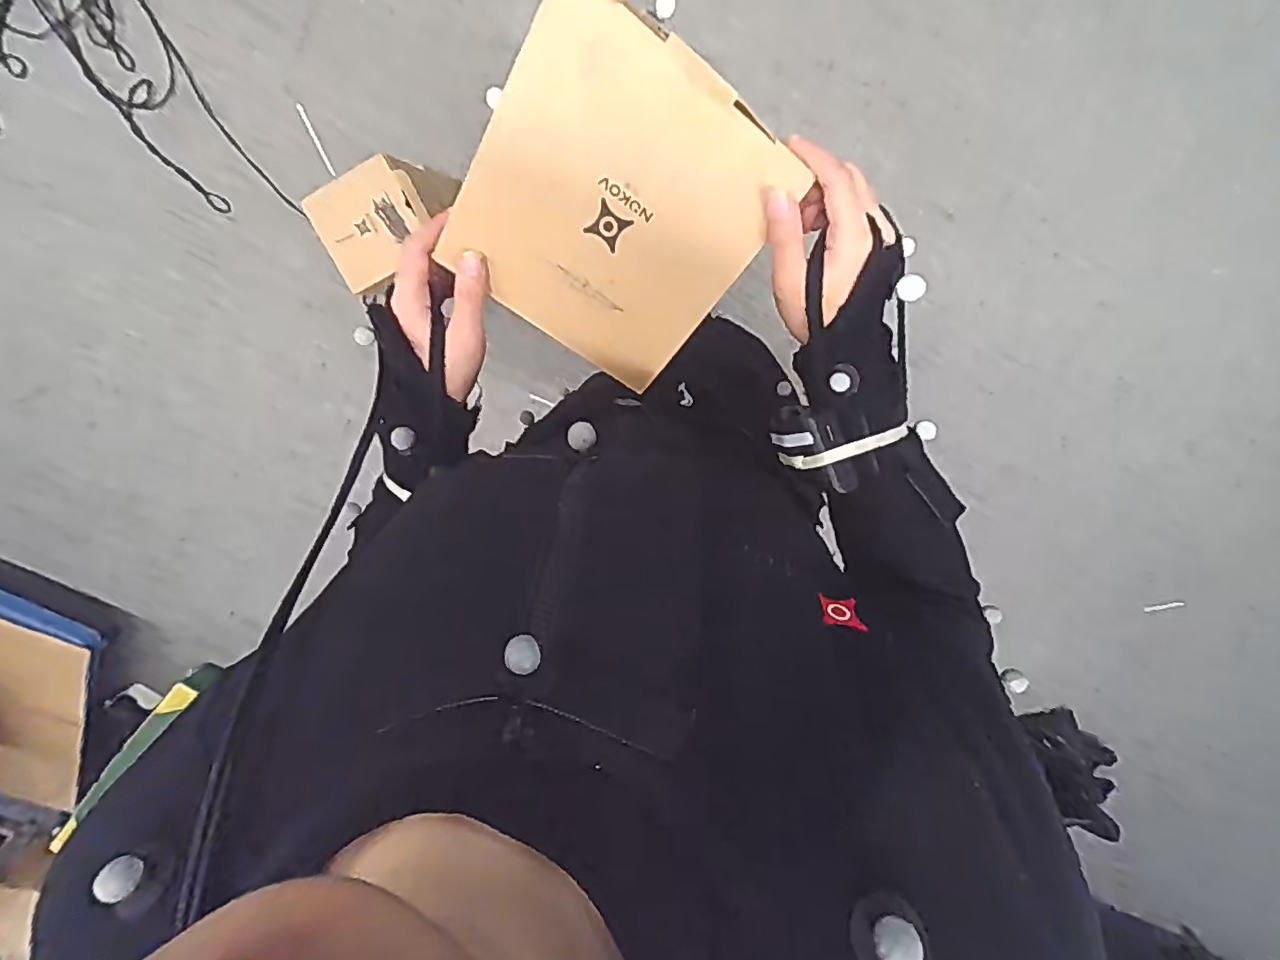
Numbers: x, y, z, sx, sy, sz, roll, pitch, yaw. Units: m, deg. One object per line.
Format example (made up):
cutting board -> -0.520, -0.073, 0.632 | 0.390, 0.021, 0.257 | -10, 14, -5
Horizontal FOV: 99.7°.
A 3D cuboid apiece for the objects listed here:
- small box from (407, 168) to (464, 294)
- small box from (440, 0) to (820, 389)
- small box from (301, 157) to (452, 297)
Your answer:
small box -> -0.437, -0.514, 1.133 | 0.168, 0.176, 0.179 | -27, 107, 12
small box -> -0.007, -0.206, 0.382 | 0.168, 0.176, 0.179 | 31, 126, -16
small box -> -0.452, -0.449, 0.981 | 0.179, 0.176, 0.168 | -22, 107, 11
